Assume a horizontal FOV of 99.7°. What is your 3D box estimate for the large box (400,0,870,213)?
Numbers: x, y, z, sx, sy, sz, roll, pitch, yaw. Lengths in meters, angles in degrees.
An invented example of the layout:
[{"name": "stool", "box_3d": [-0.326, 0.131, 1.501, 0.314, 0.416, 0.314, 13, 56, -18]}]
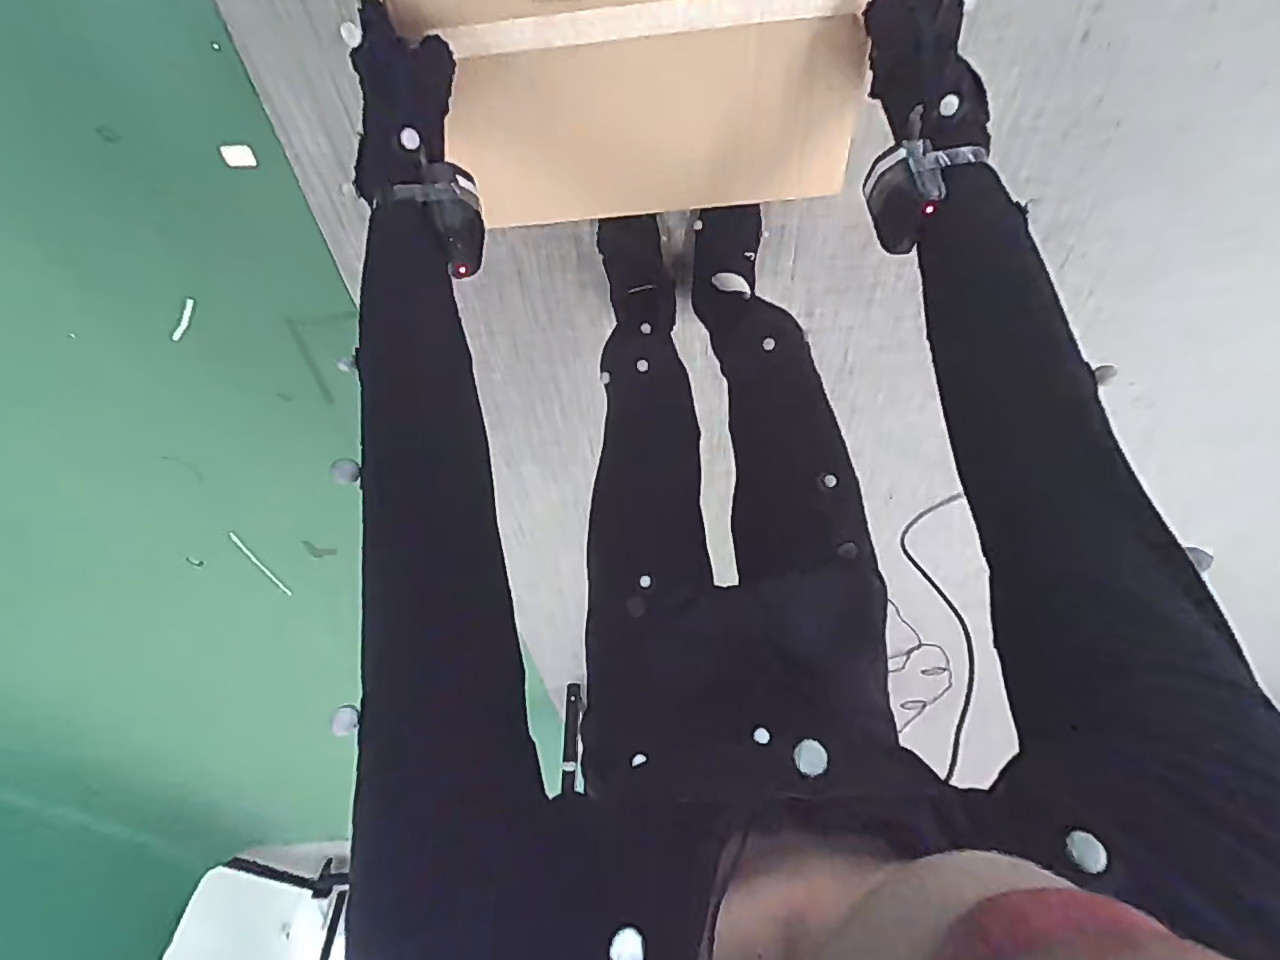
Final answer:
[{"name": "large box", "box_3d": [-0.005, -0.514, 0.554, 0.408, 0.320, 0.320, -4, 138, 2]}]
